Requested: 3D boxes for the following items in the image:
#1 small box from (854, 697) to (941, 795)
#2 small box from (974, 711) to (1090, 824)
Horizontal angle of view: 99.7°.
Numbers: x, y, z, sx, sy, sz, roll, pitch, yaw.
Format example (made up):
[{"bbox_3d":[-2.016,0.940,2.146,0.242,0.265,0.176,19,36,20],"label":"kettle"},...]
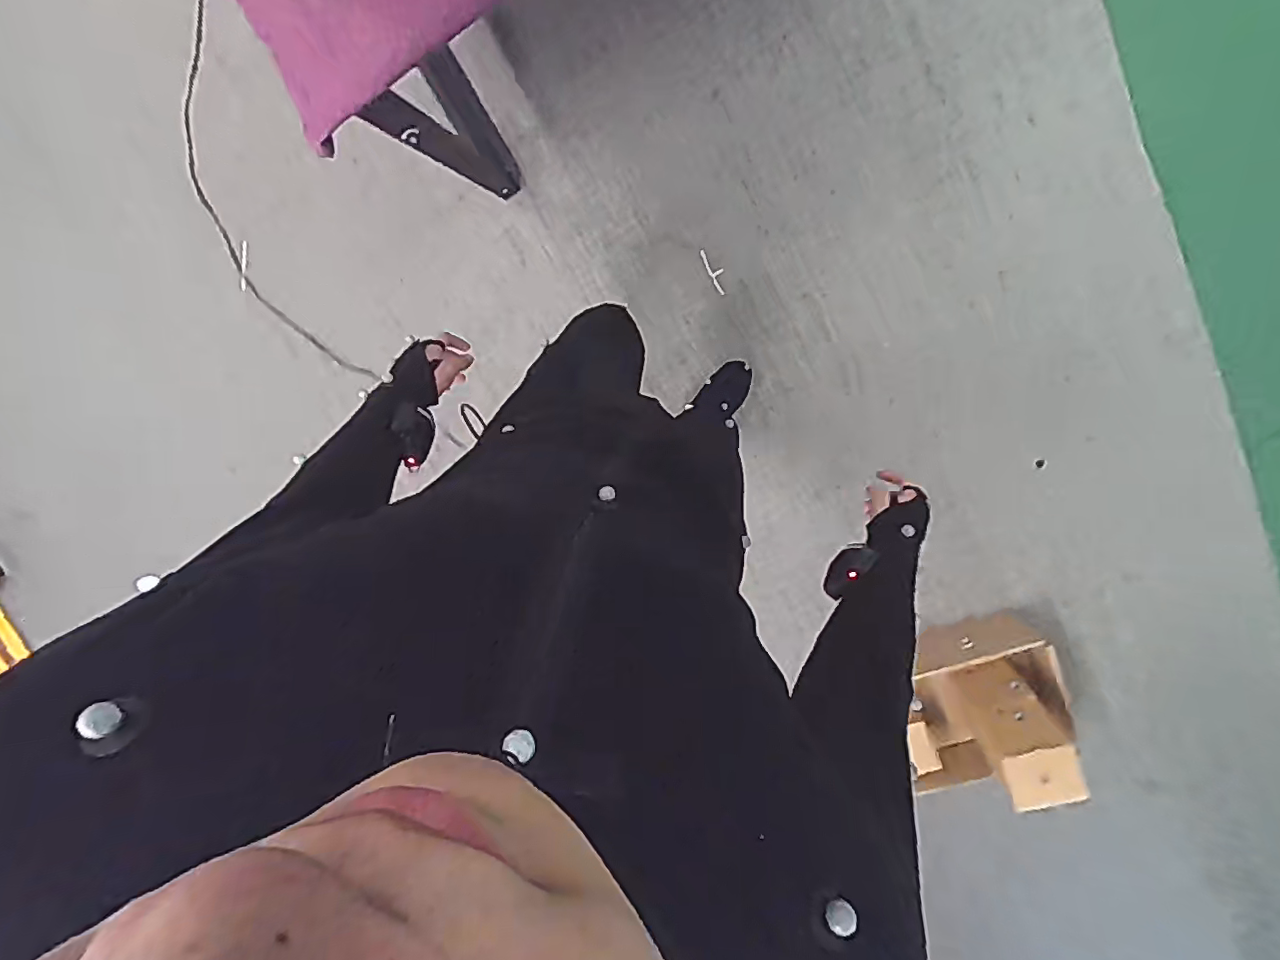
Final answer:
[{"bbox_3d":[0.759,0.786,1.606,0.168,0.176,0.179,-22,101,12],"label":"small box"},{"bbox_3d":[0.996,0.732,1.386,0.168,0.176,0.179,-21,102,14],"label":"small box"}]
